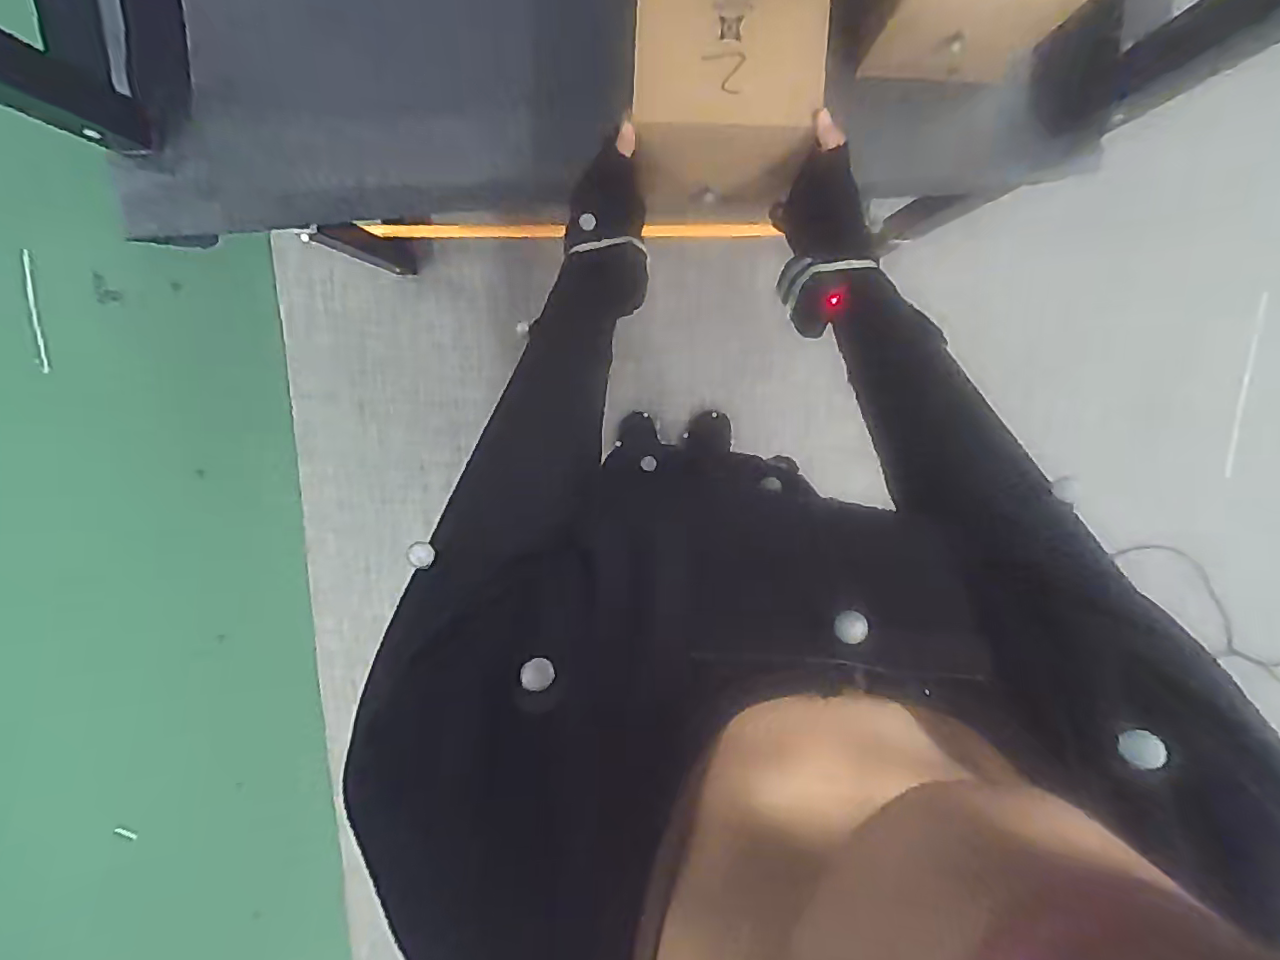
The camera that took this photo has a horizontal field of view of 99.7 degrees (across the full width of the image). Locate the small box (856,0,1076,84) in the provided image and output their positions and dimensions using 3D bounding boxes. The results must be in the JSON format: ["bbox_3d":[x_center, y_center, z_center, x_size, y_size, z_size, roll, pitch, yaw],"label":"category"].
[{"bbox_3d":[0.334,-0.538,0.545,0.168,0.176,0.179,4,100,0],"label":"small box"}]
